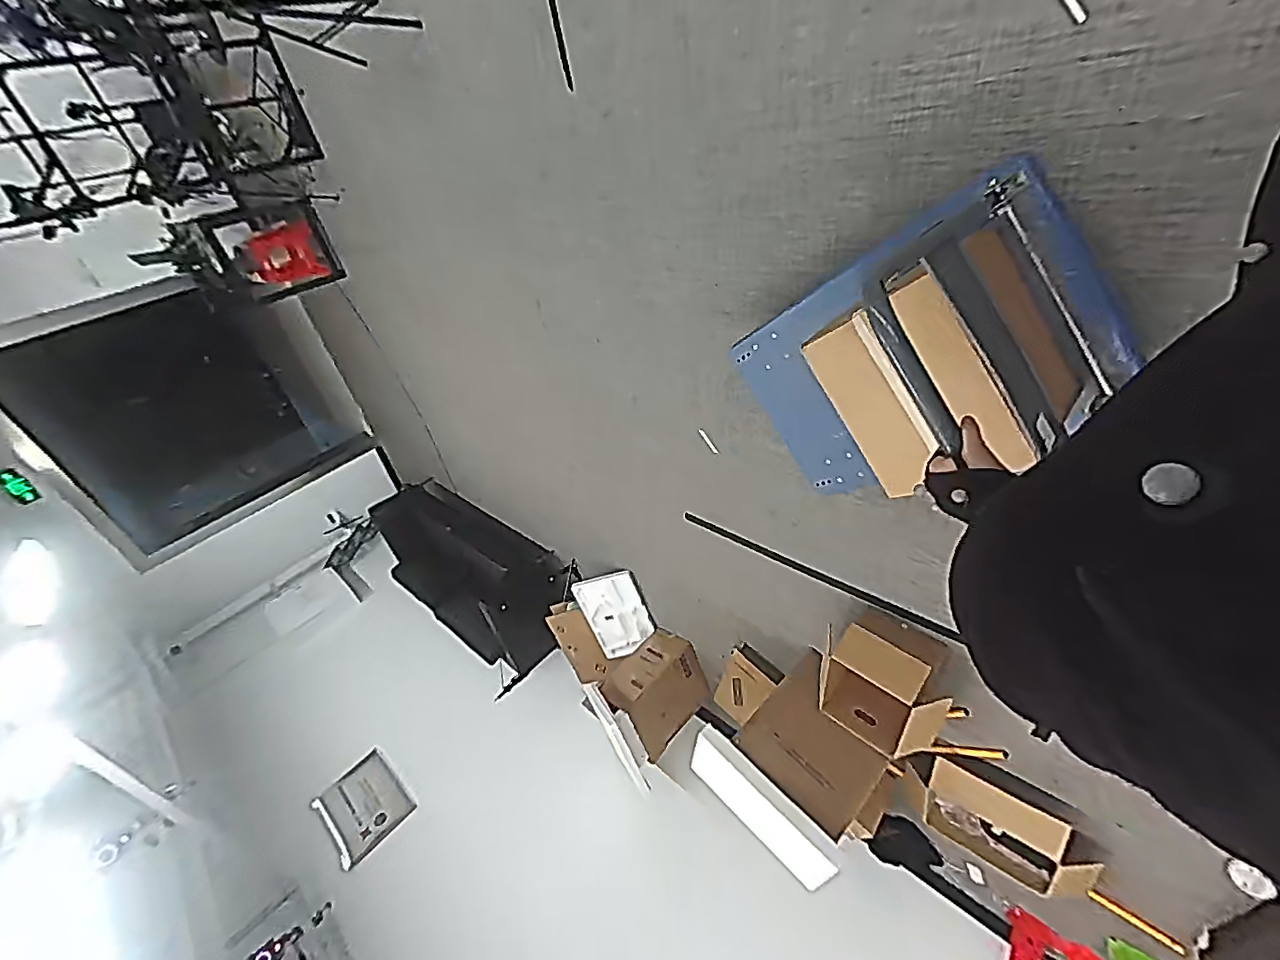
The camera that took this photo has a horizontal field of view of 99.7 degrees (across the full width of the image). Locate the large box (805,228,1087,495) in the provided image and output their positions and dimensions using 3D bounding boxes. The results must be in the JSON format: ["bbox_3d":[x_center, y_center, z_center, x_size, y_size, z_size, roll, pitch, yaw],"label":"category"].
[{"bbox_3d":[0.643,-0.236,1.148,0.408,0.320,0.320,57,148,-5],"label":"large box"}]
